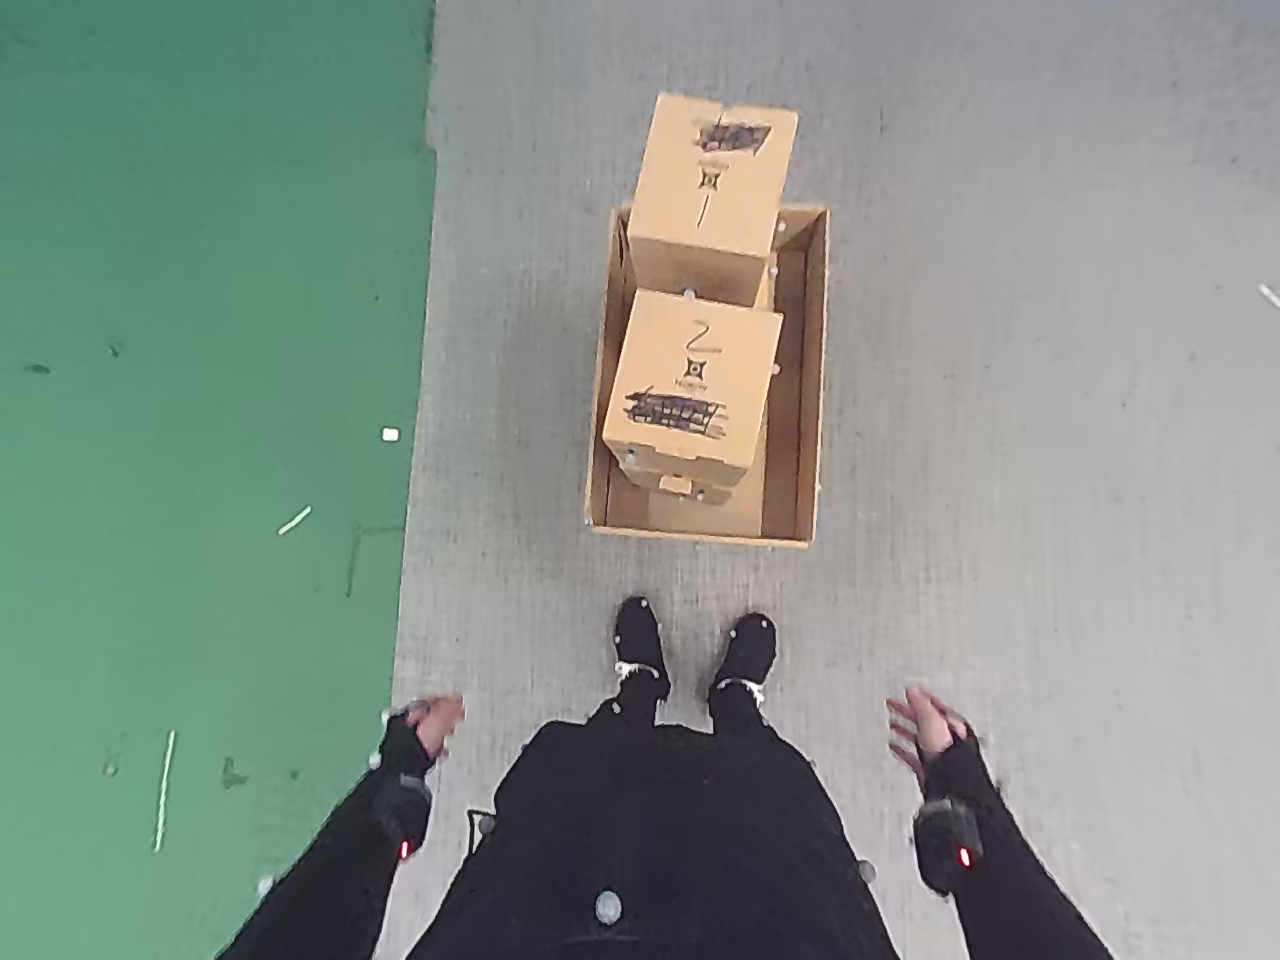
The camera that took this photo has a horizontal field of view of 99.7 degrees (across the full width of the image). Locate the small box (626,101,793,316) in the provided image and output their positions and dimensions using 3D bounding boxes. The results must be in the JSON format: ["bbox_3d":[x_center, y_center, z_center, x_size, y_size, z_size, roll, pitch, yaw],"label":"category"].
[{"bbox_3d":[0.087,-0.339,0.701,0.168,0.176,0.179,12,86,7],"label":"small box"}]

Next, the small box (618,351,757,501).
[{"bbox_3d":[0.074,-0.072,0.830,0.168,0.176,0.179,12,83,7],"label":"small box"}]

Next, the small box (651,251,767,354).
[{"bbox_3d":[0.107,-0.315,0.863,0.168,0.176,0.179,2,84,6],"label":"small box"}]
